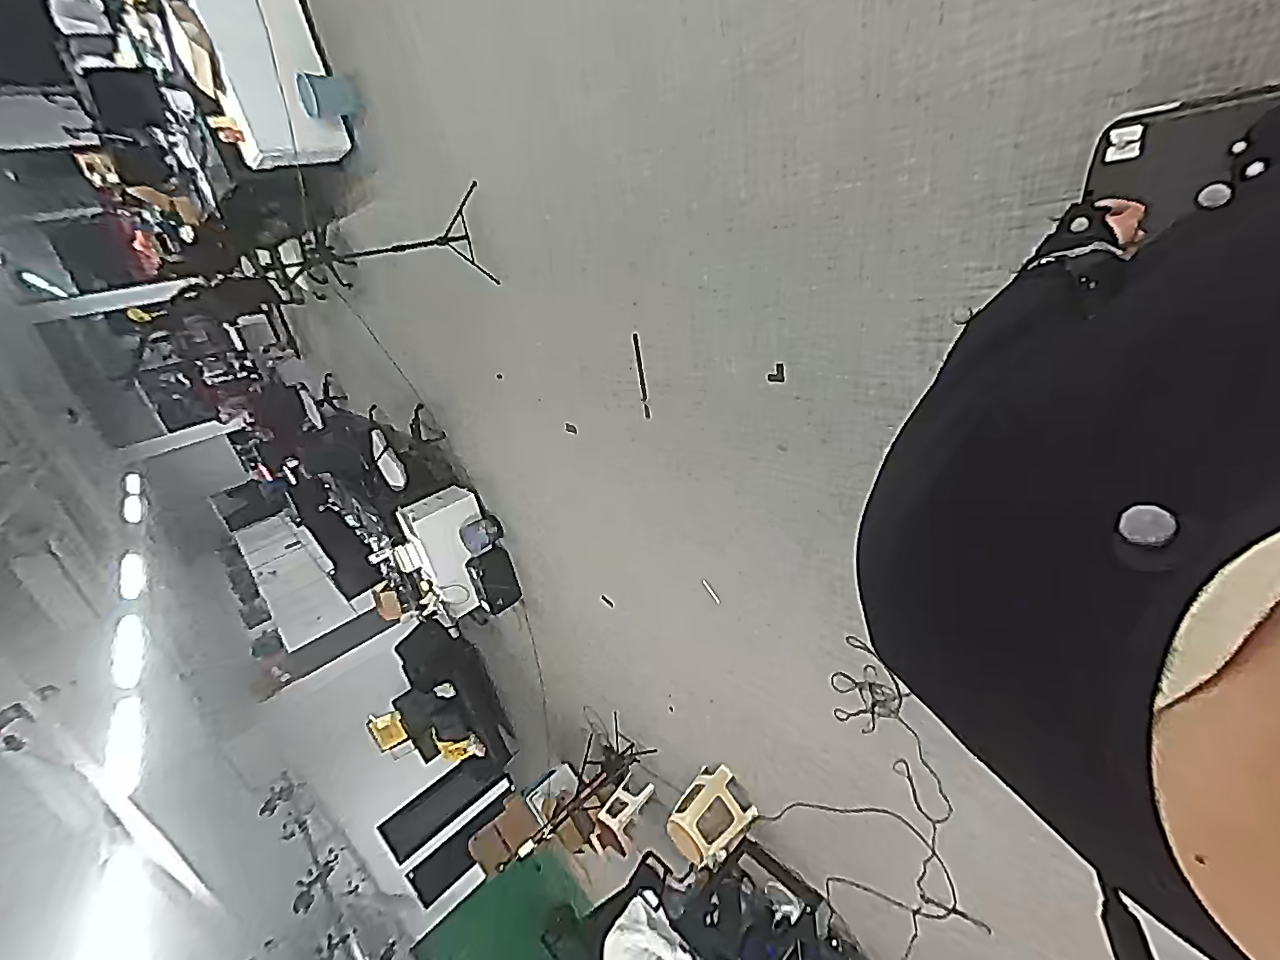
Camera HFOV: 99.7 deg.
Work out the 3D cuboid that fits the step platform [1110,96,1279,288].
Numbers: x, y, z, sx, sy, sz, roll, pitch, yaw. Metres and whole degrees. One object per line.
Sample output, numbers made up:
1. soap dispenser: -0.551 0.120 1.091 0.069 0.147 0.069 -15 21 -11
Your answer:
1. step platform: 1.161 -0.445 0.813 0.684 0.204 0.286 21 129 43
